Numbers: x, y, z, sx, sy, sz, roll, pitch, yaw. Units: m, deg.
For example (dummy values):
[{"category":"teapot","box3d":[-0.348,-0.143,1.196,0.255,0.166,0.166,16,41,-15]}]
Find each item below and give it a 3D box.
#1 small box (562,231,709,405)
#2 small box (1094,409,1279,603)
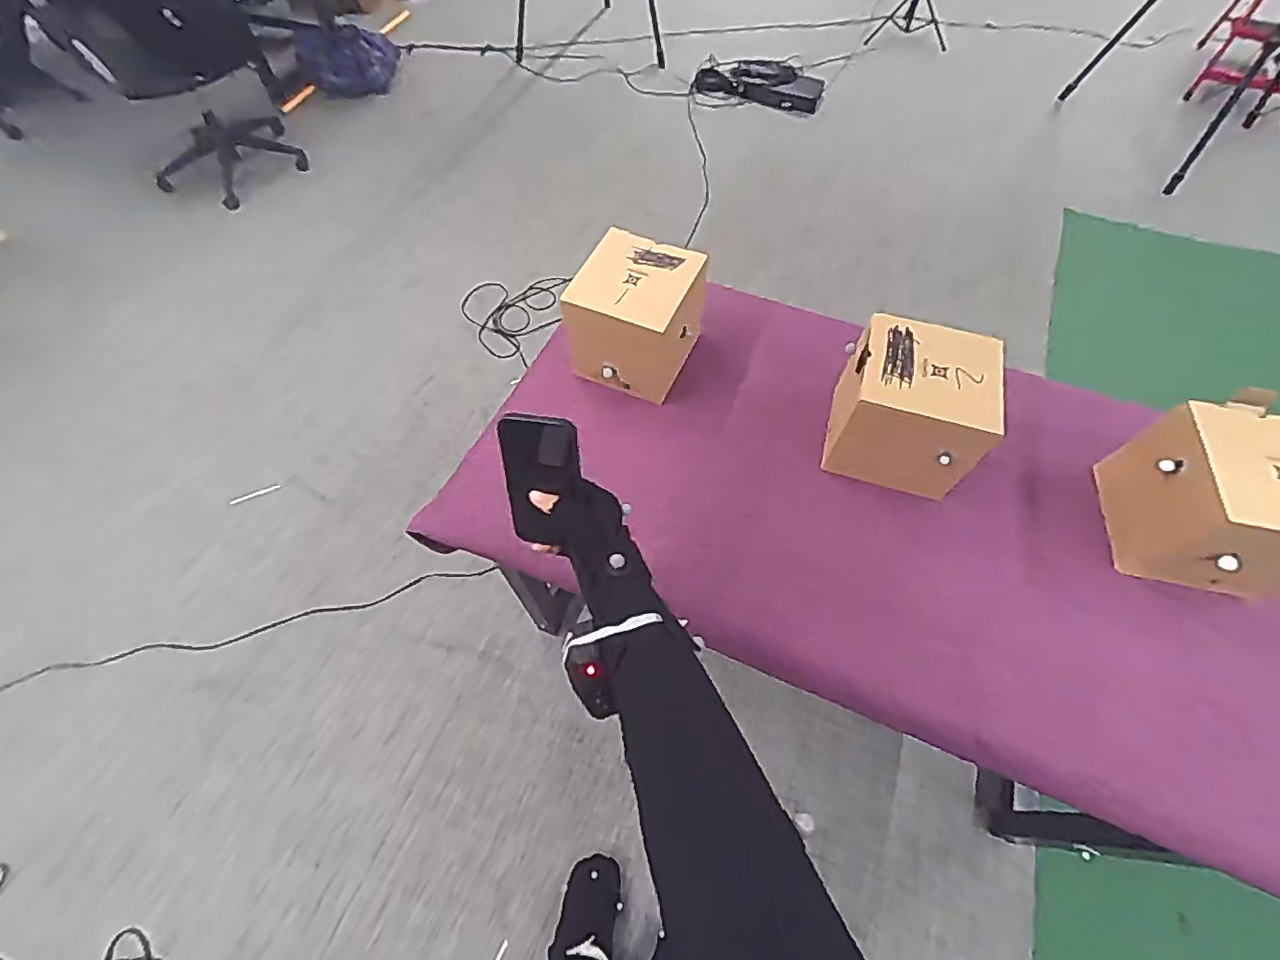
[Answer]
[{"category":"small box","box3d":[-0.005,-0.253,0.860,0.168,0.176,0.179,22,64,12]},{"category":"small box","box3d":[0.735,0.040,0.691,0.168,0.176,0.179,11,60,7]}]
